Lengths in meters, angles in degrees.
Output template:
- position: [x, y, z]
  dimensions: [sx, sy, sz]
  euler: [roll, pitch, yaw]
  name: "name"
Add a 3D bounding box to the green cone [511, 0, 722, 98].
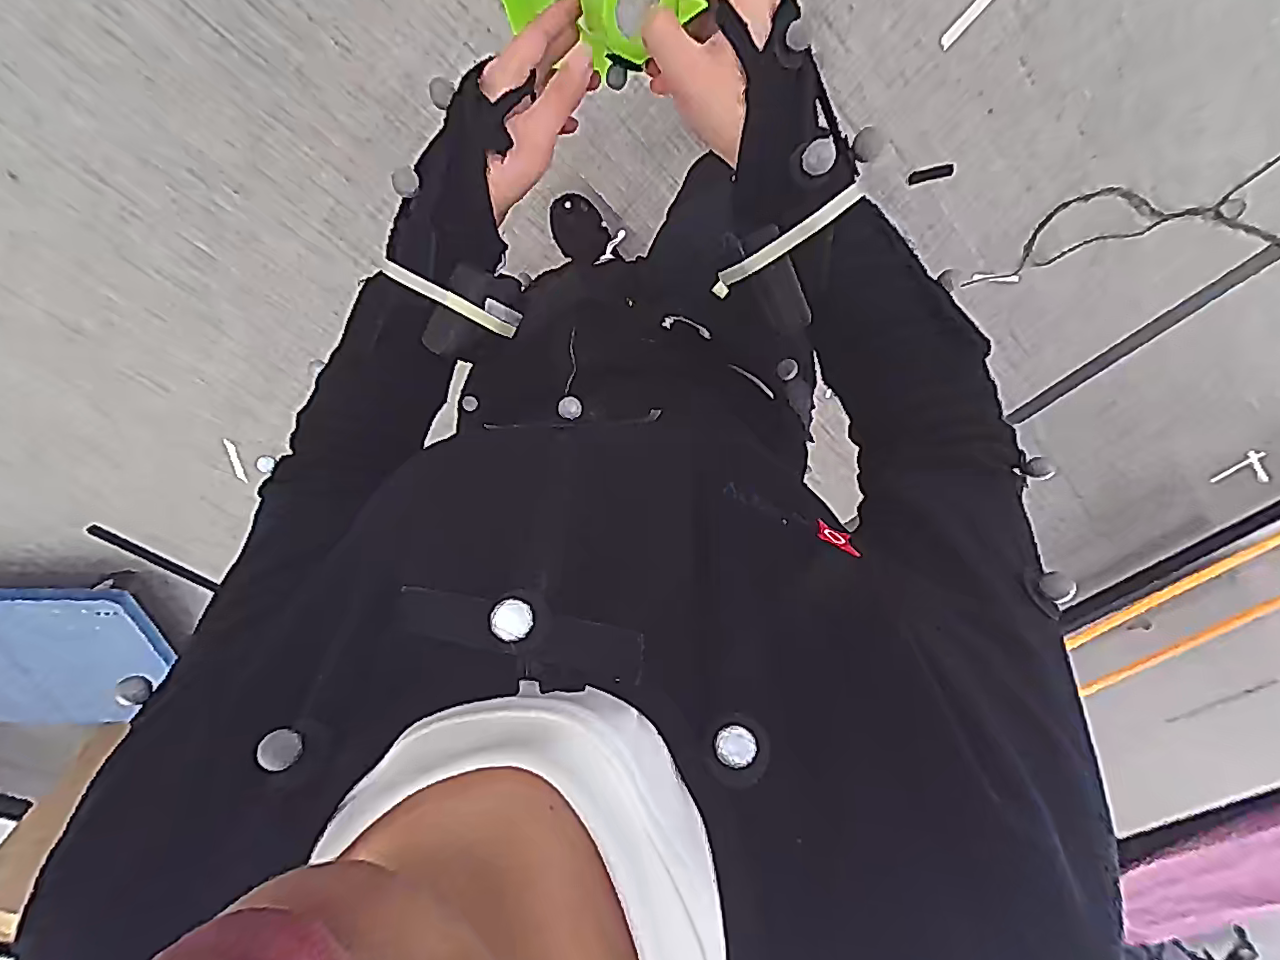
- position: [-0.015, -0.370, 0.387]
  dimensions: [0.202, 0.368, 0.200]
  euler: [-15, 137, 8]
  name: "green cone"
